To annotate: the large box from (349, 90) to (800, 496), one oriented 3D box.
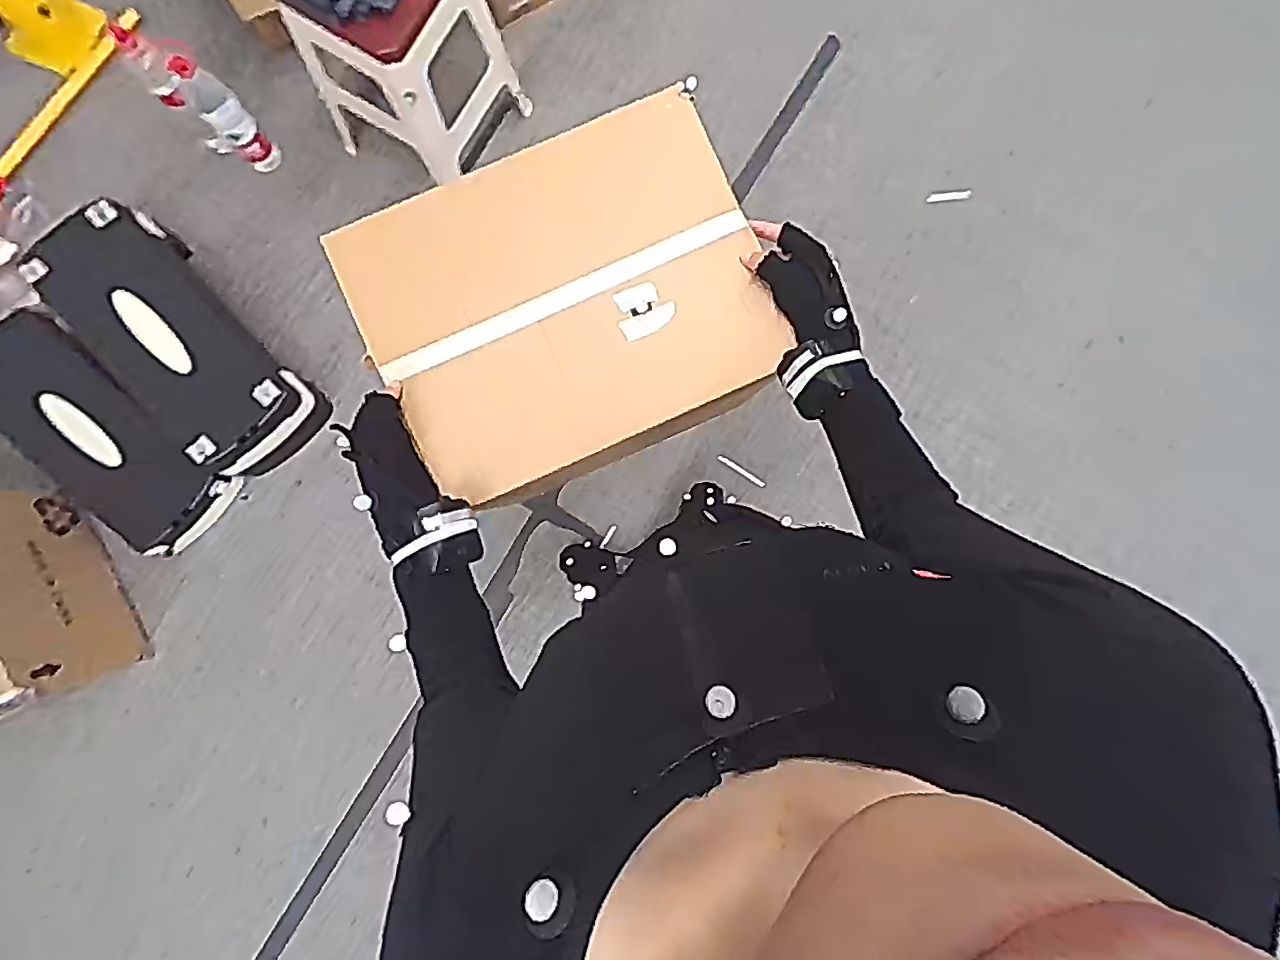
[{"bbox_3d":[-0.072,-0.197,0.720,0.408,0.320,0.320,-24,91,-2],"label":"large box"}]
